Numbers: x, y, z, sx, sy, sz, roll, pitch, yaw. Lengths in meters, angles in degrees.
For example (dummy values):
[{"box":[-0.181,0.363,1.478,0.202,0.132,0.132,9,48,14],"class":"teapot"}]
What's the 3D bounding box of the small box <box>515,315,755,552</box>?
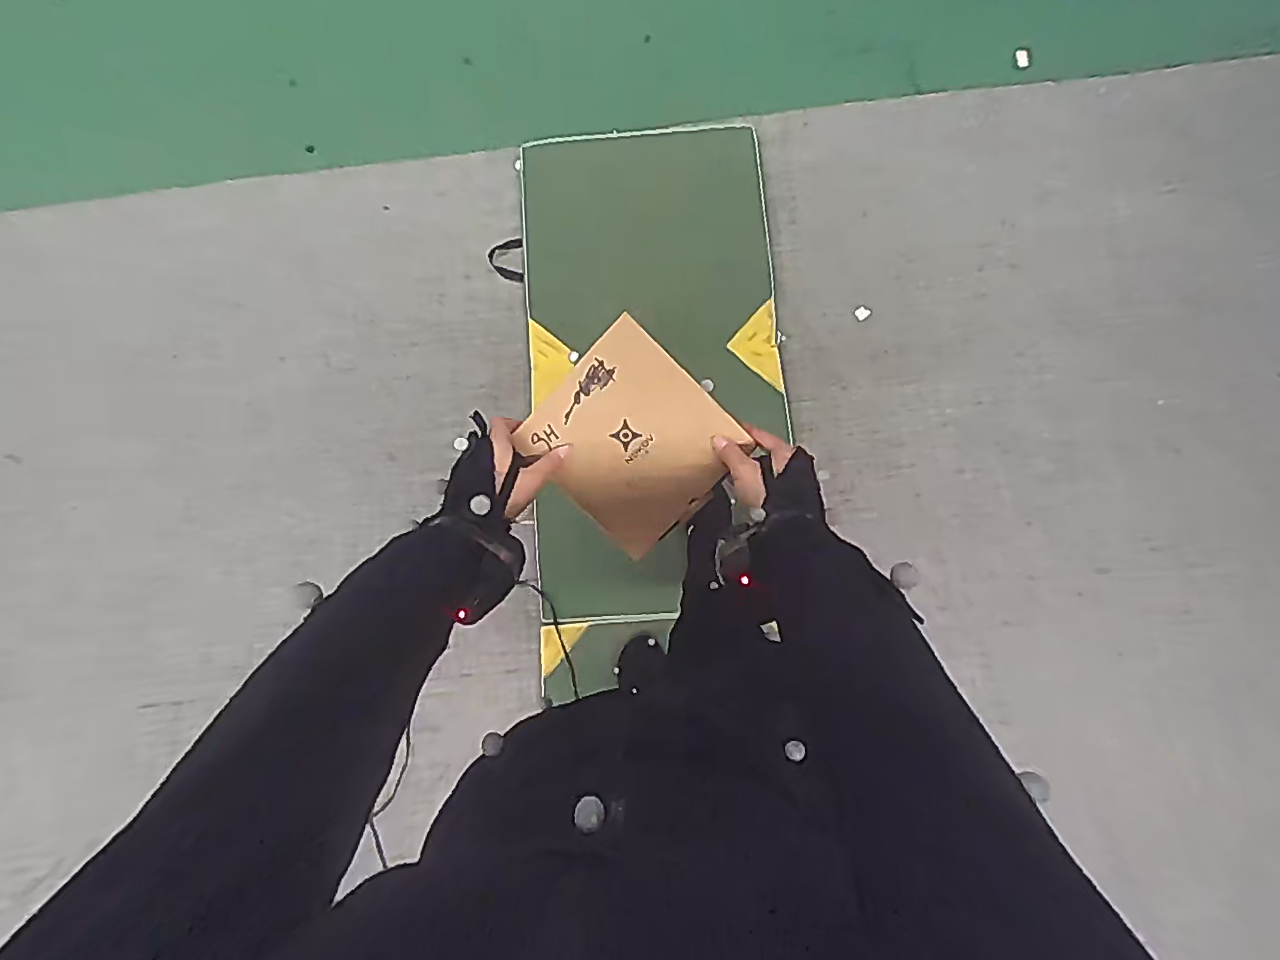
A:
[{"box":[-0.001,-0.056,0.596,0.179,0.176,0.168,44,99,-5],"class":"small box"}]
